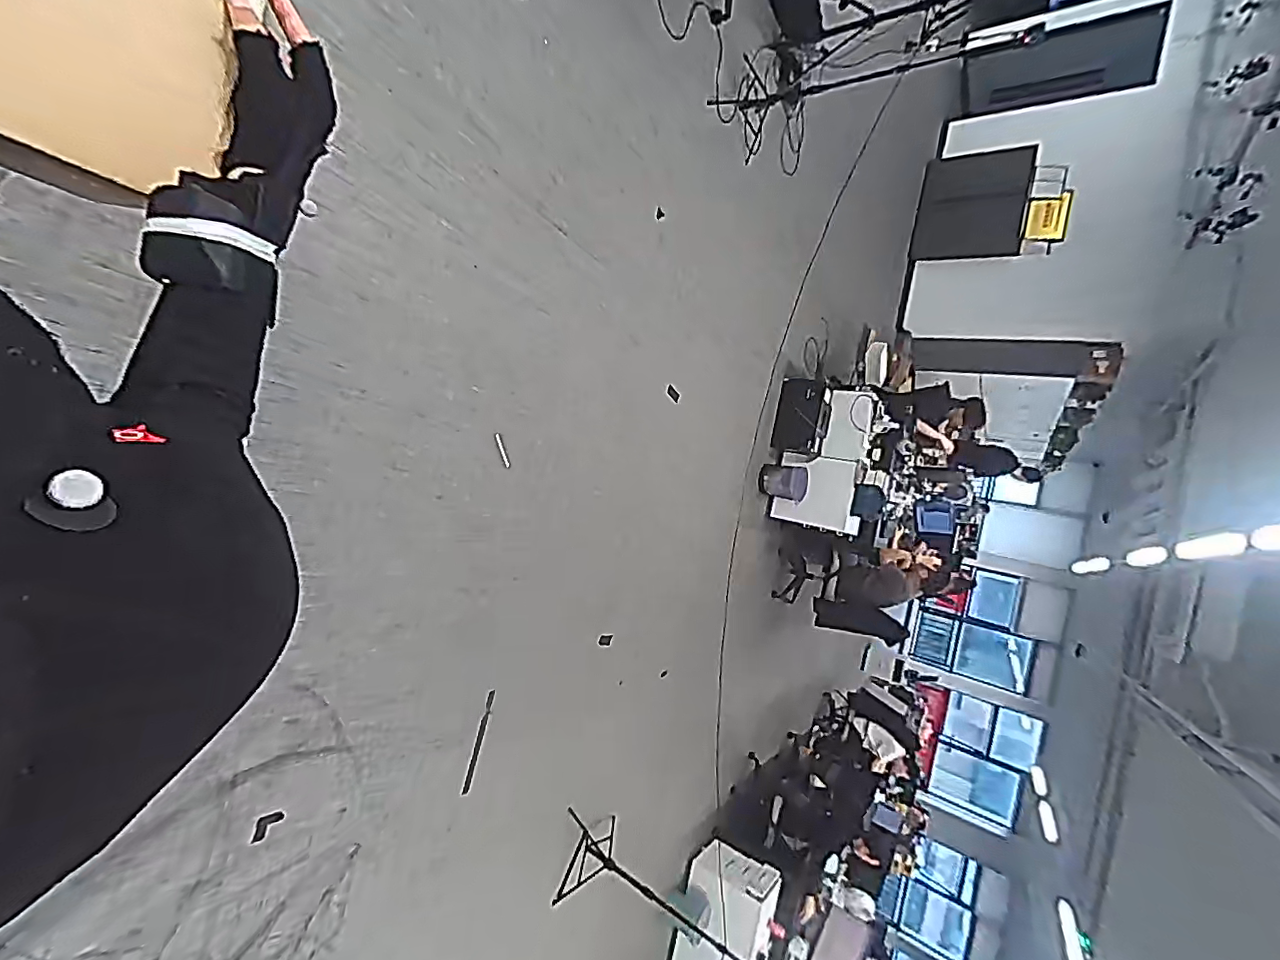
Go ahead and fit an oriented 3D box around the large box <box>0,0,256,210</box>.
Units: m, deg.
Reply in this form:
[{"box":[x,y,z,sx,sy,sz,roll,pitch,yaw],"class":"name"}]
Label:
[{"box":[-0.517,-0.414,0.317,0.408,0.320,0.320,10,100,-59],"class":"large box"}]
